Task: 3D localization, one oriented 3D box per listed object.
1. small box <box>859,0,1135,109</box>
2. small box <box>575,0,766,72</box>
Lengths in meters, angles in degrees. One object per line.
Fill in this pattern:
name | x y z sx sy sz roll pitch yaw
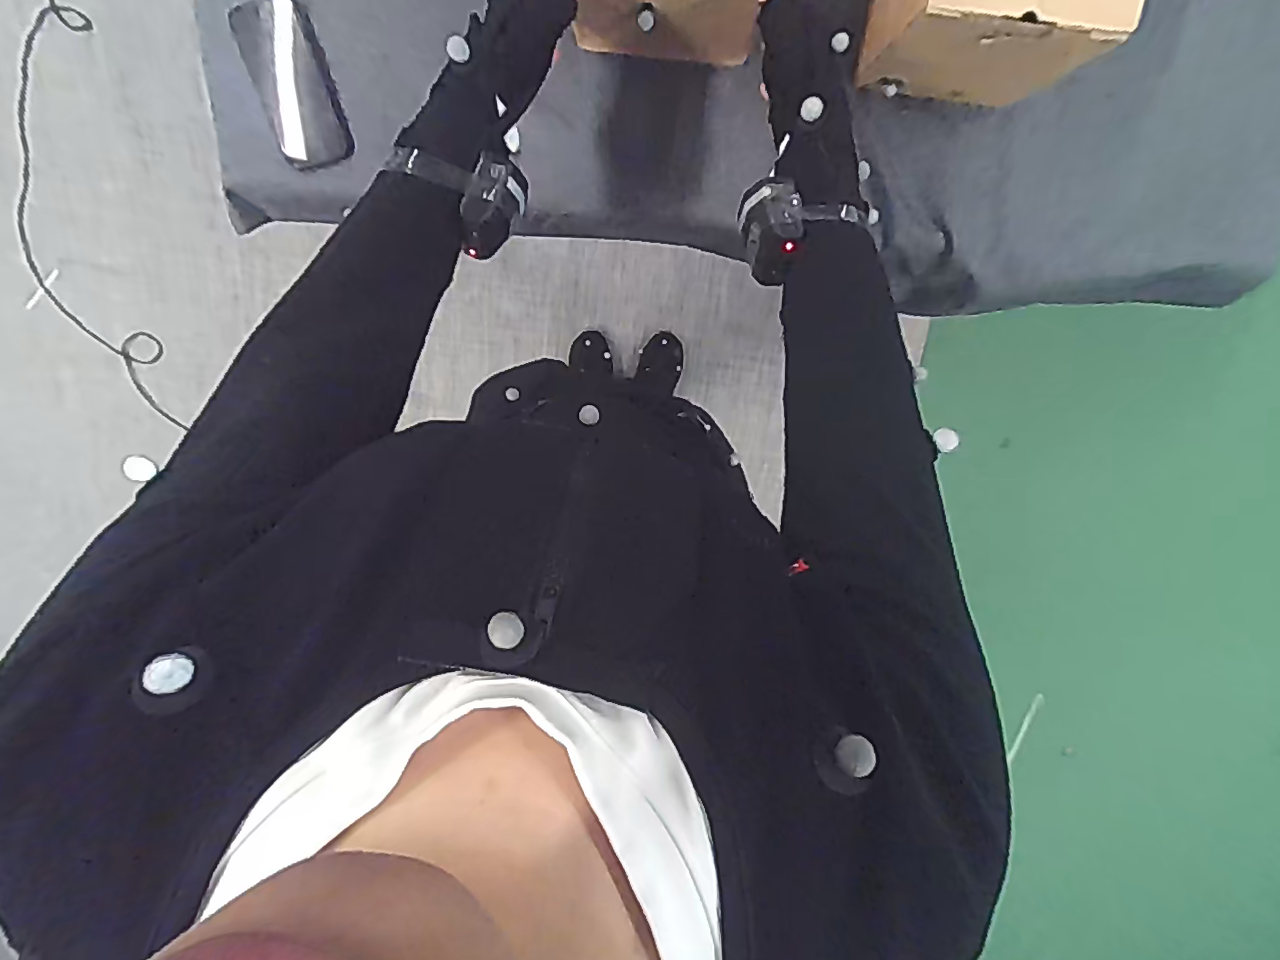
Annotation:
small box | 0.316 -0.462 0.481 0.168 0.176 0.179 7 108 -1
small box | 0.031 -0.493 0.477 0.179 0.176 0.168 5 108 0
